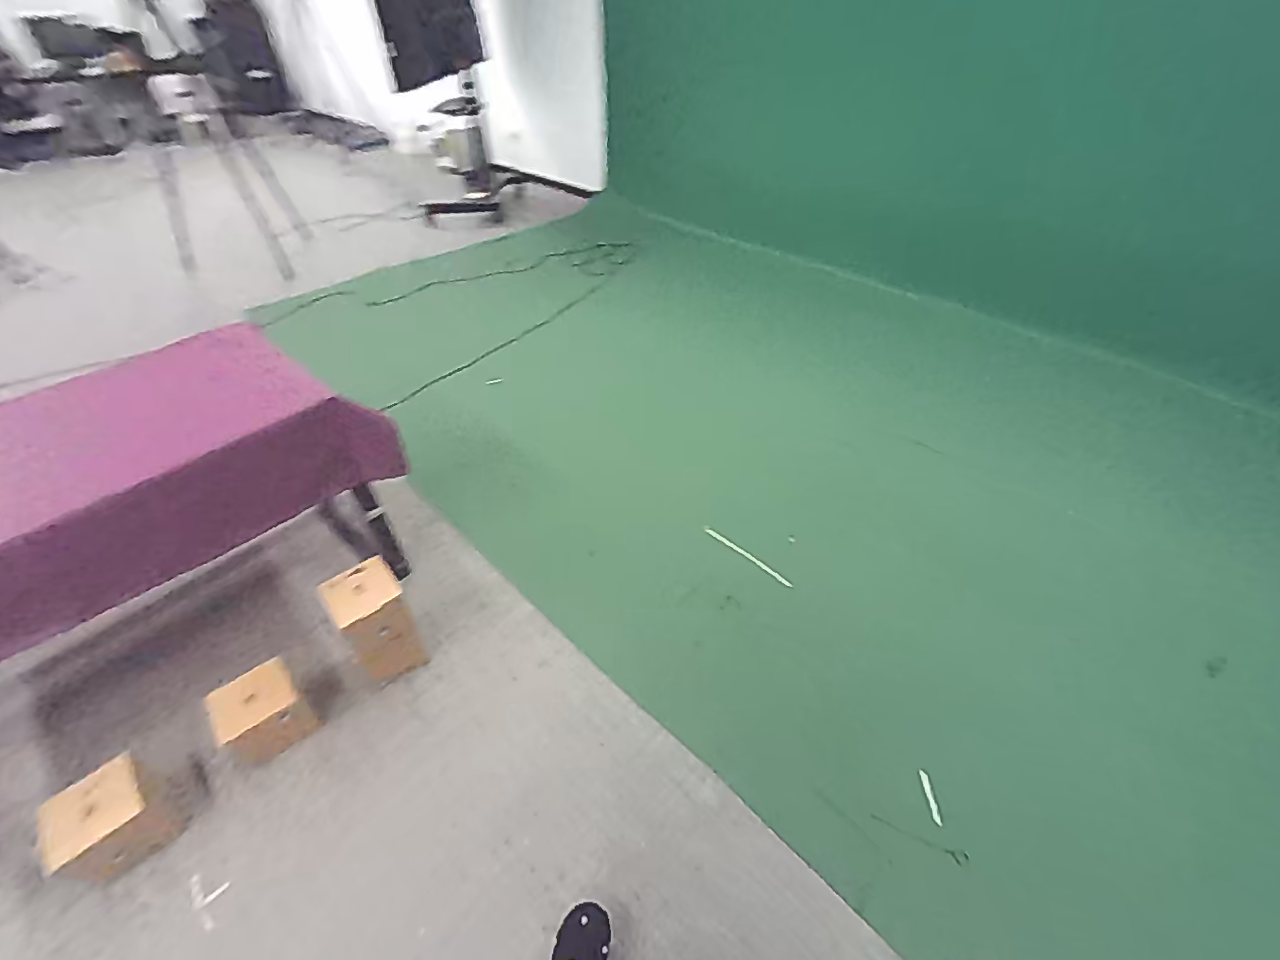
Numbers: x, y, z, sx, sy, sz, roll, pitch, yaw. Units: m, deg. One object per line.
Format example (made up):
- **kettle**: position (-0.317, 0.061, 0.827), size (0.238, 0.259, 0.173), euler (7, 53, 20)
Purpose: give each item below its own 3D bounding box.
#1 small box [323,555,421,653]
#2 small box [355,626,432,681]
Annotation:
- **small box**: position (-0.728, 0.346, 1.481), size (0.168, 0.176, 0.179), euler (-30, 52, -28)
- **small box**: position (-0.736, 0.465, 1.595), size (0.168, 0.176, 0.179), euler (-27, 48, -26)
